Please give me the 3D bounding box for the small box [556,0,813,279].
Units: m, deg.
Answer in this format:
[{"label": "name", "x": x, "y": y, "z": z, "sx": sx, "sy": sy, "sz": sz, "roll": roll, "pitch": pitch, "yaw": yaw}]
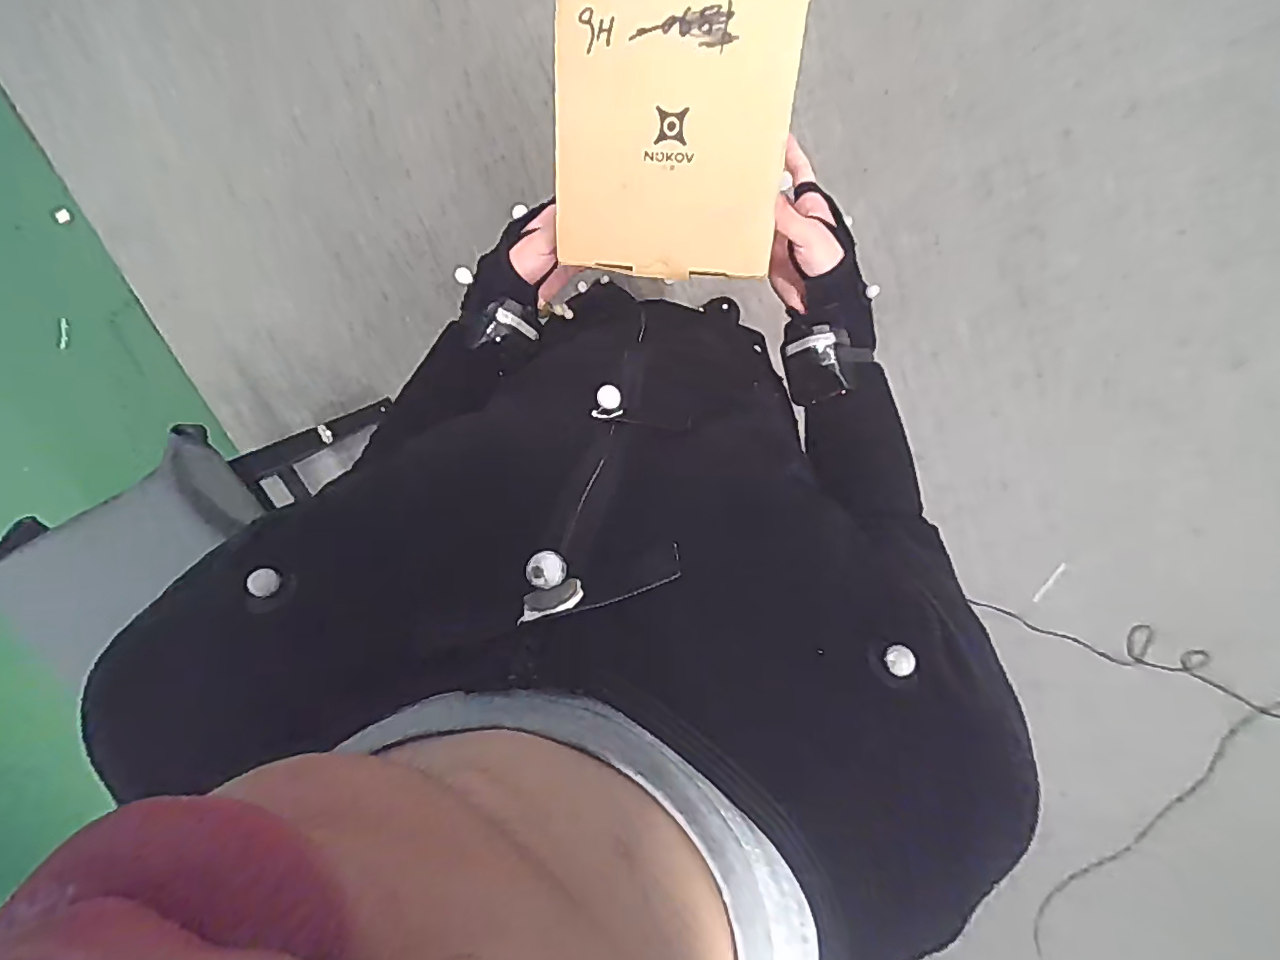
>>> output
[{"label": "small box", "x": 0.031, "y": -0.275, "z": 0.447, "sx": 0.168, "sy": 0.176, "sz": 0.179, "roll": 6, "pitch": 117, "yaw": 4}]
